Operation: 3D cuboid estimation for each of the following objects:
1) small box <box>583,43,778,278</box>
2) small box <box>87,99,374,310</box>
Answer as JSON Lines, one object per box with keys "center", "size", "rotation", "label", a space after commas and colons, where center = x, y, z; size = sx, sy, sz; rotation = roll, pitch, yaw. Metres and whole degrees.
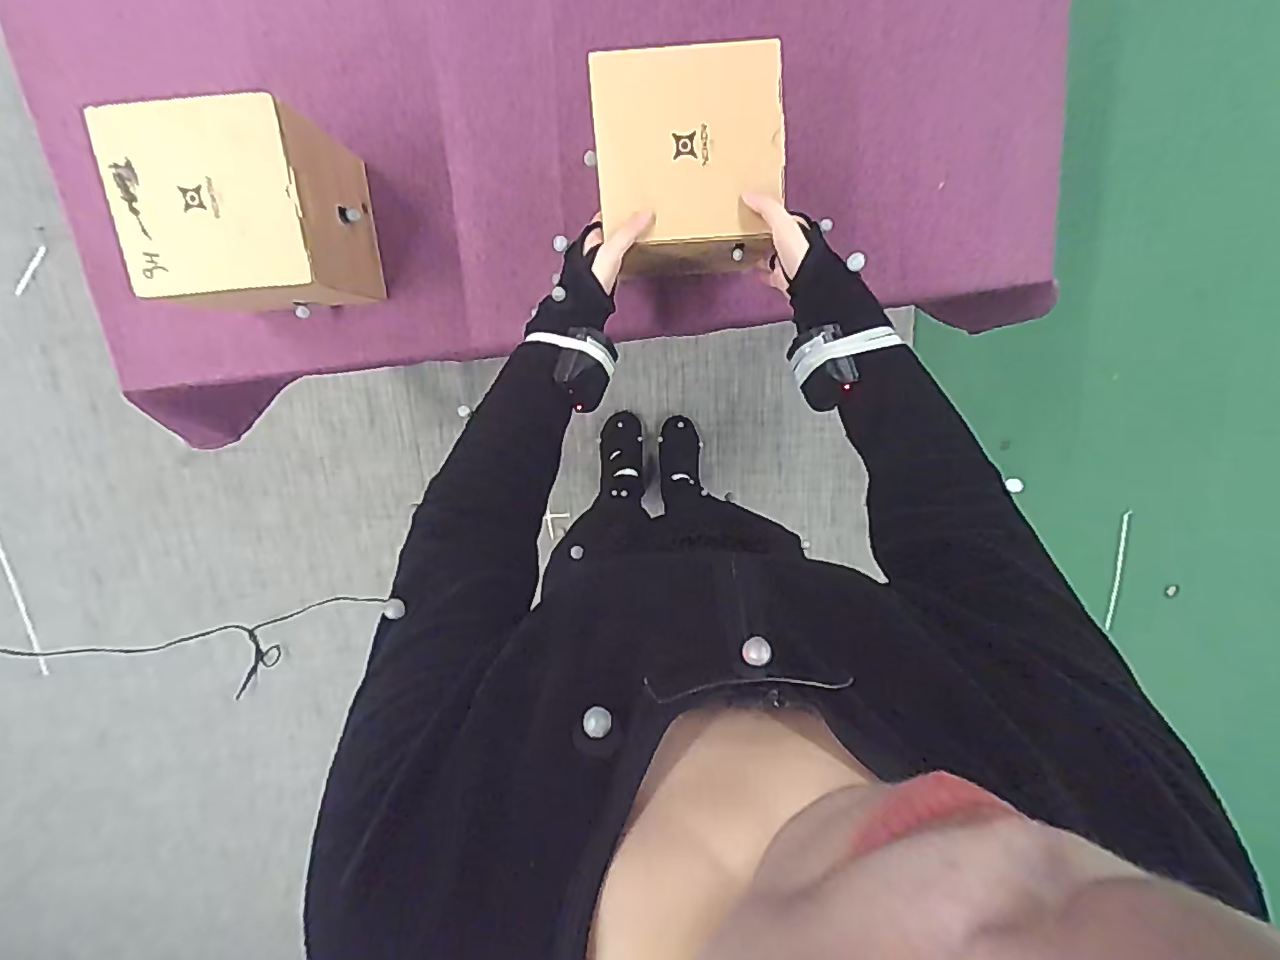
{"center": [0.039, -0.320, 0.578], "size": [0.179, 0.176, 0.168], "rotation": [-4, 100, 0], "label": "small box"}
{"center": [-0.411, -0.280, 0.585], "size": [0.179, 0.176, 0.168], "rotation": [-4, 103, -1], "label": "small box"}
